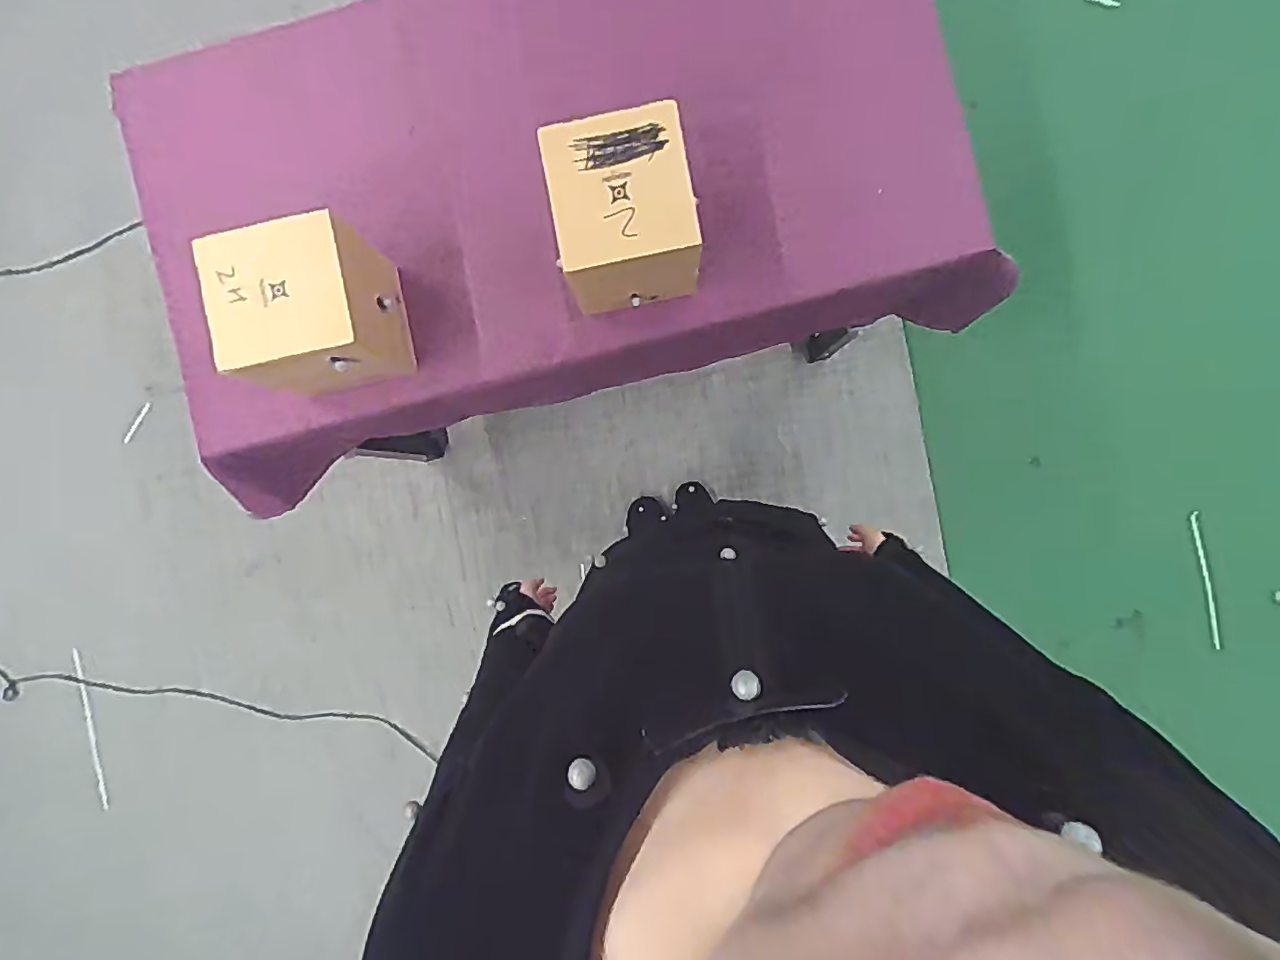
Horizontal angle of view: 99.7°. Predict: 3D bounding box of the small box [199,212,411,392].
[{"bbox_3d":[-0.432,-0.226,0.731,0.179,0.176,0.168,-12,88,3],"label":"small box"}]
